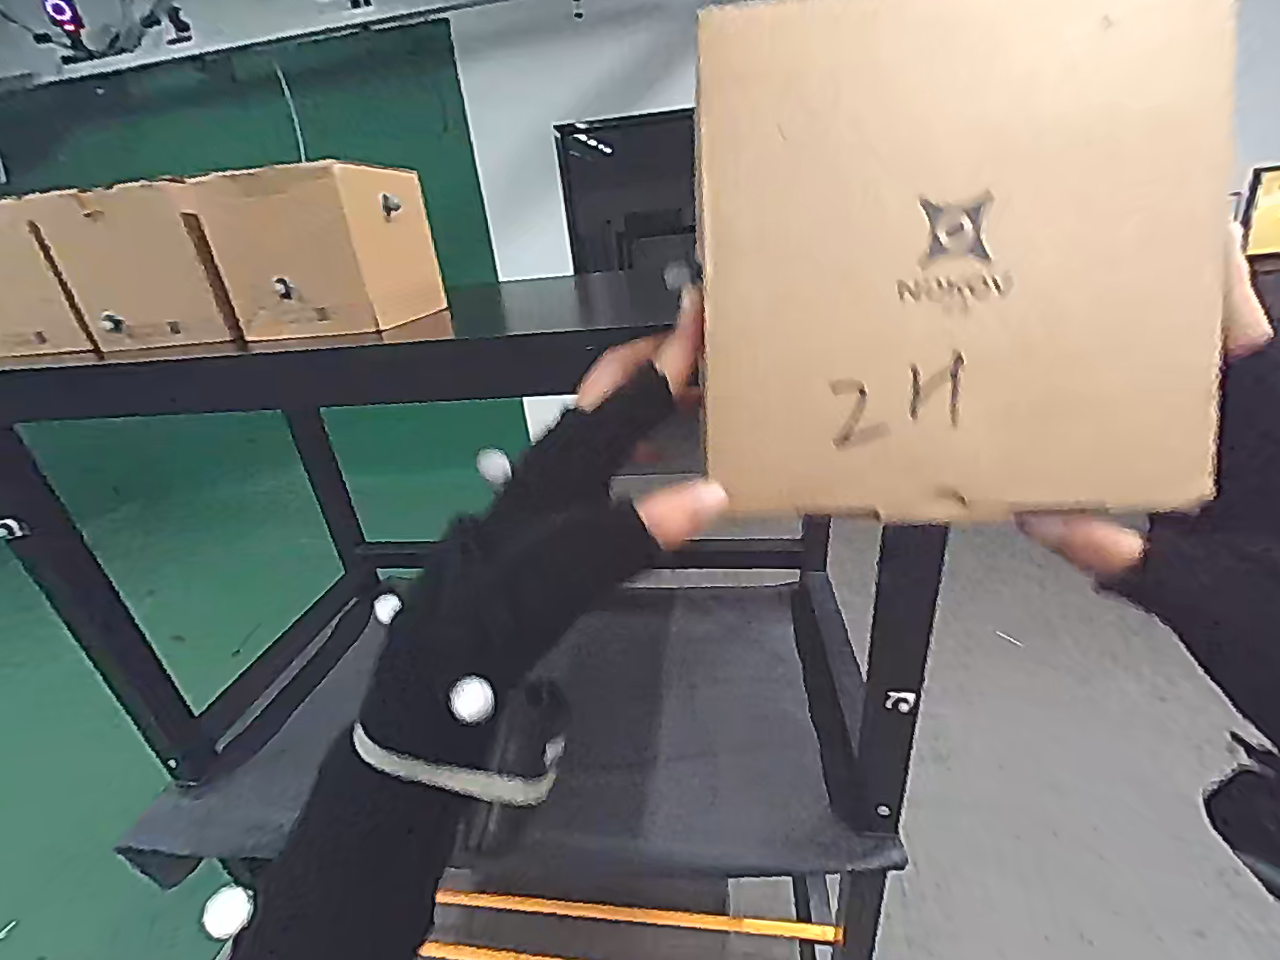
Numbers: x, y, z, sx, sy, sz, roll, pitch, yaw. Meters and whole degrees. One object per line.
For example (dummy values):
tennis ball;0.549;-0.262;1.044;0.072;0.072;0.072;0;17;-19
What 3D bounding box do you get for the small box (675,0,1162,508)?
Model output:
small box;0.102;-0.080;0.273;0.168;0.179;0.176;-1;3;7
